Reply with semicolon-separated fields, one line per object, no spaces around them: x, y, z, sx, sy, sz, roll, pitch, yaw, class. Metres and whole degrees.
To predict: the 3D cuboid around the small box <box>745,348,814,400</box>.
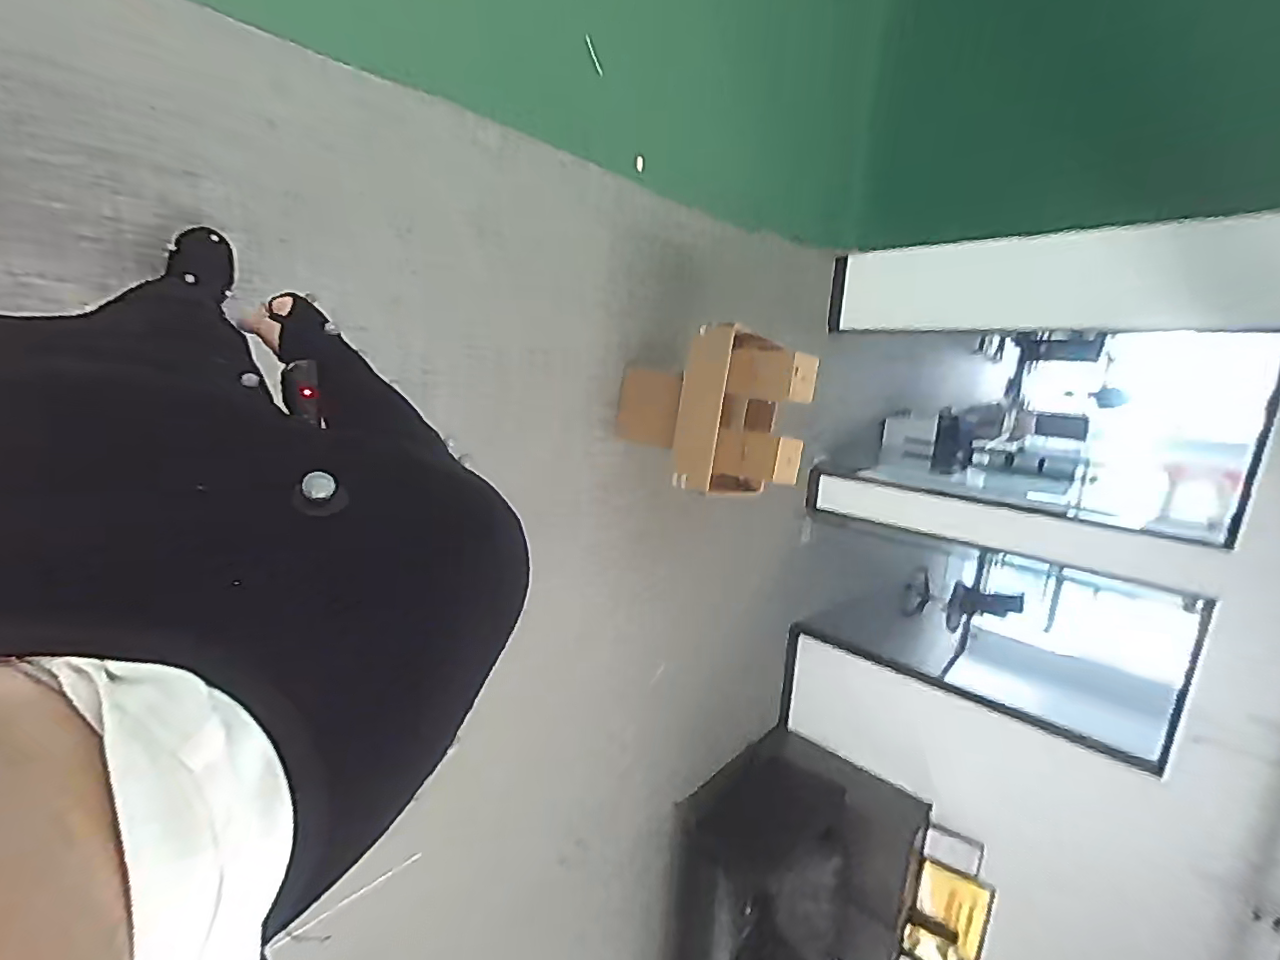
0.505;-0.384;1.955;0.179;0.176;0.168;-4;103;-48;small box

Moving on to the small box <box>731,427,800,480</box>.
0.460;-0.099;1.988;0.179;0.176;0.168;5;96;-49;small box

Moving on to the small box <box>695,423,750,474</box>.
0.340;-0.123;2.096;0.179;0.176;0.168;6;96;-48;small box
